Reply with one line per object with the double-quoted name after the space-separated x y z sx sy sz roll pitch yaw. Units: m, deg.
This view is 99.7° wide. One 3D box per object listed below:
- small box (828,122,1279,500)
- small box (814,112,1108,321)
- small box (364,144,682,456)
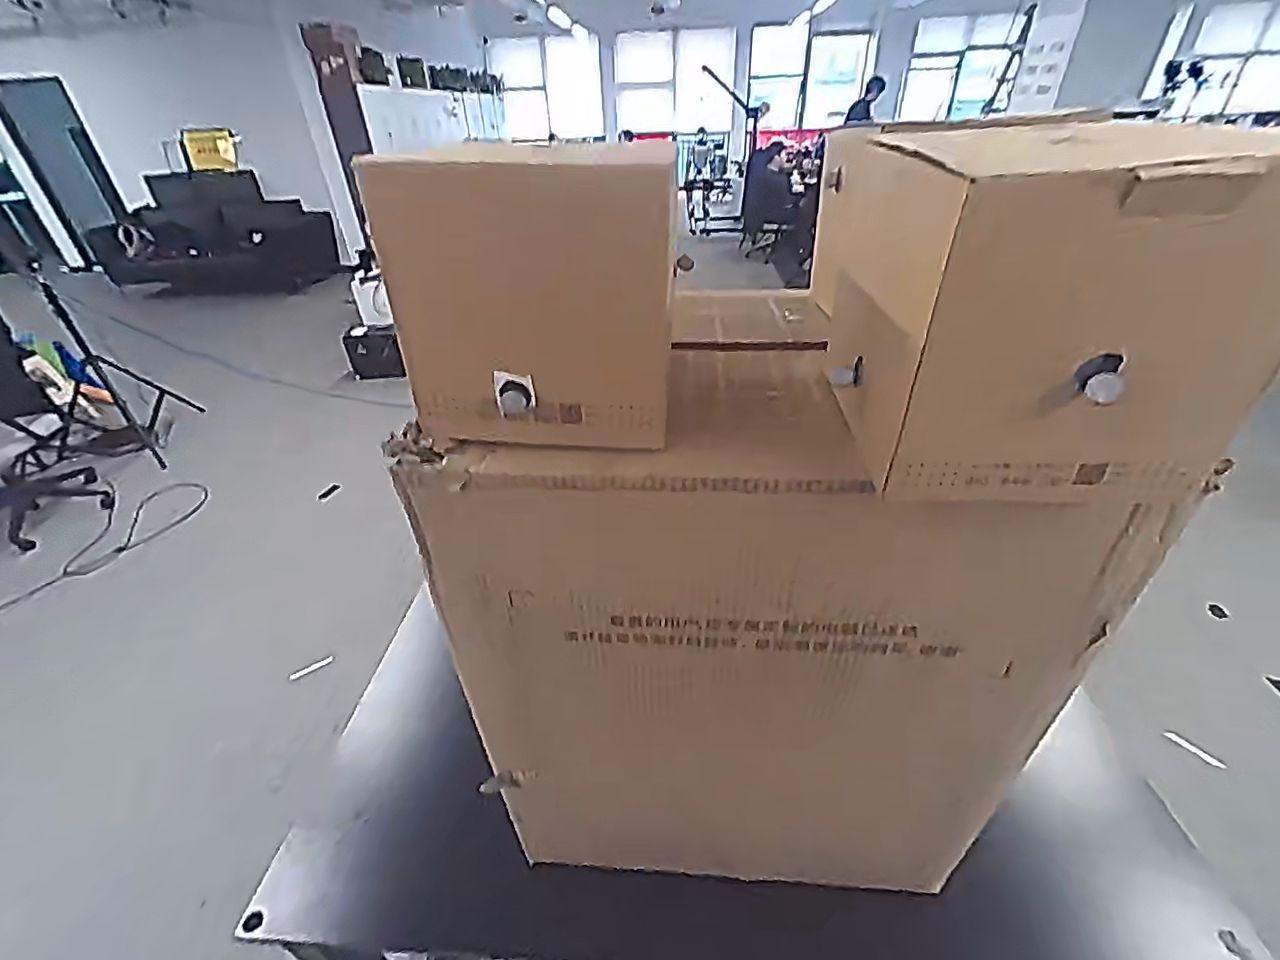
0.222 -0.101 0.324 0.168 0.176 0.179 0 37 5 "small box"
0.270 -0.239 0.513 0.168 0.176 0.179 -1 31 5 "small box"
-0.057 -0.135 0.385 0.168 0.176 0.179 2 36 3 "small box"
